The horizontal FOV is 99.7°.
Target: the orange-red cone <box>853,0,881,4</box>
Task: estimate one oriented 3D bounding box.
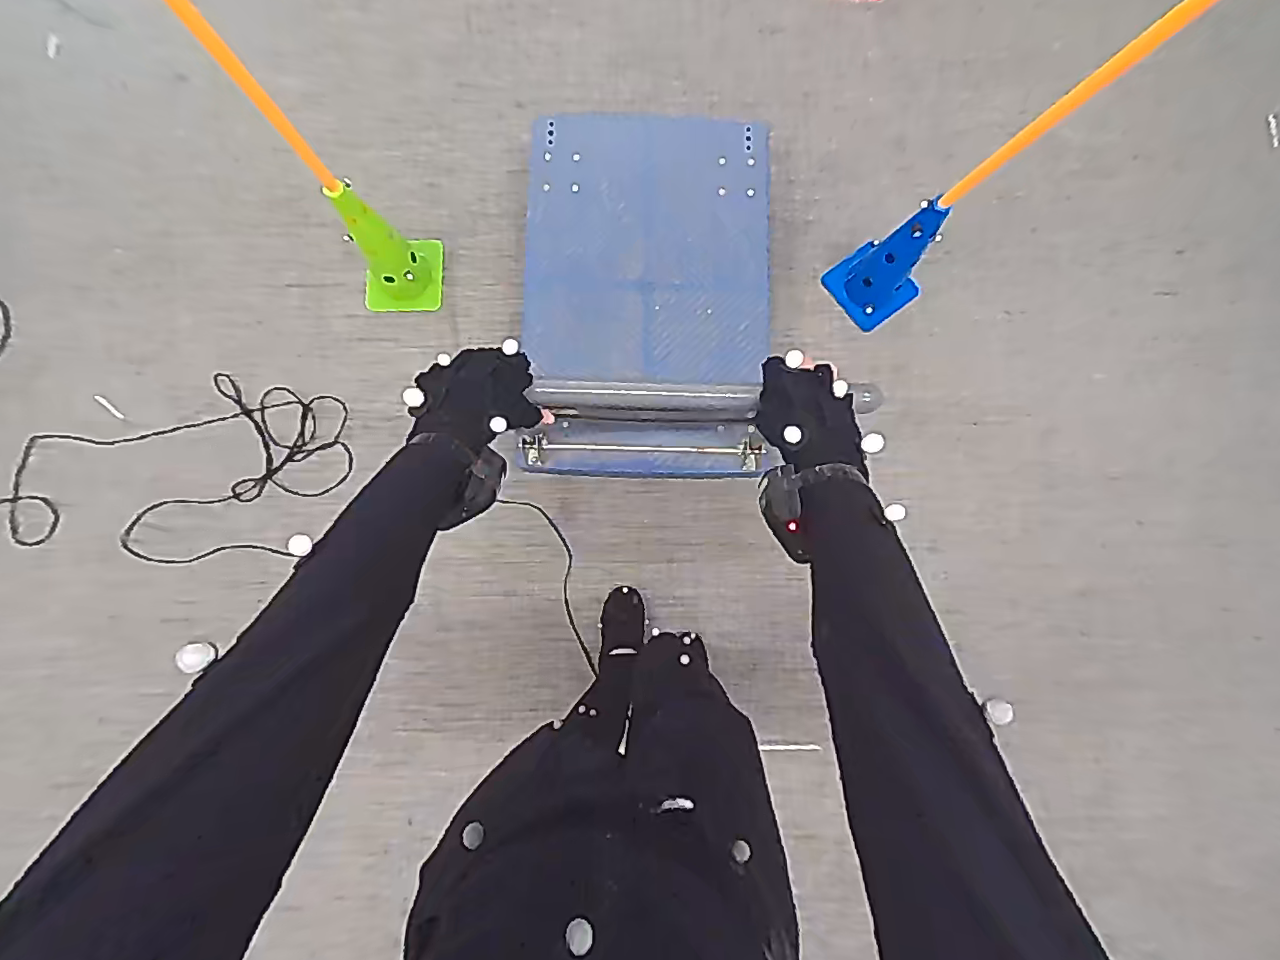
[{"bbox_3d":[0.629,-1.514,1.415,0.198,0.360,0.199,11,83,2],"label":"orange-red cone"}]
